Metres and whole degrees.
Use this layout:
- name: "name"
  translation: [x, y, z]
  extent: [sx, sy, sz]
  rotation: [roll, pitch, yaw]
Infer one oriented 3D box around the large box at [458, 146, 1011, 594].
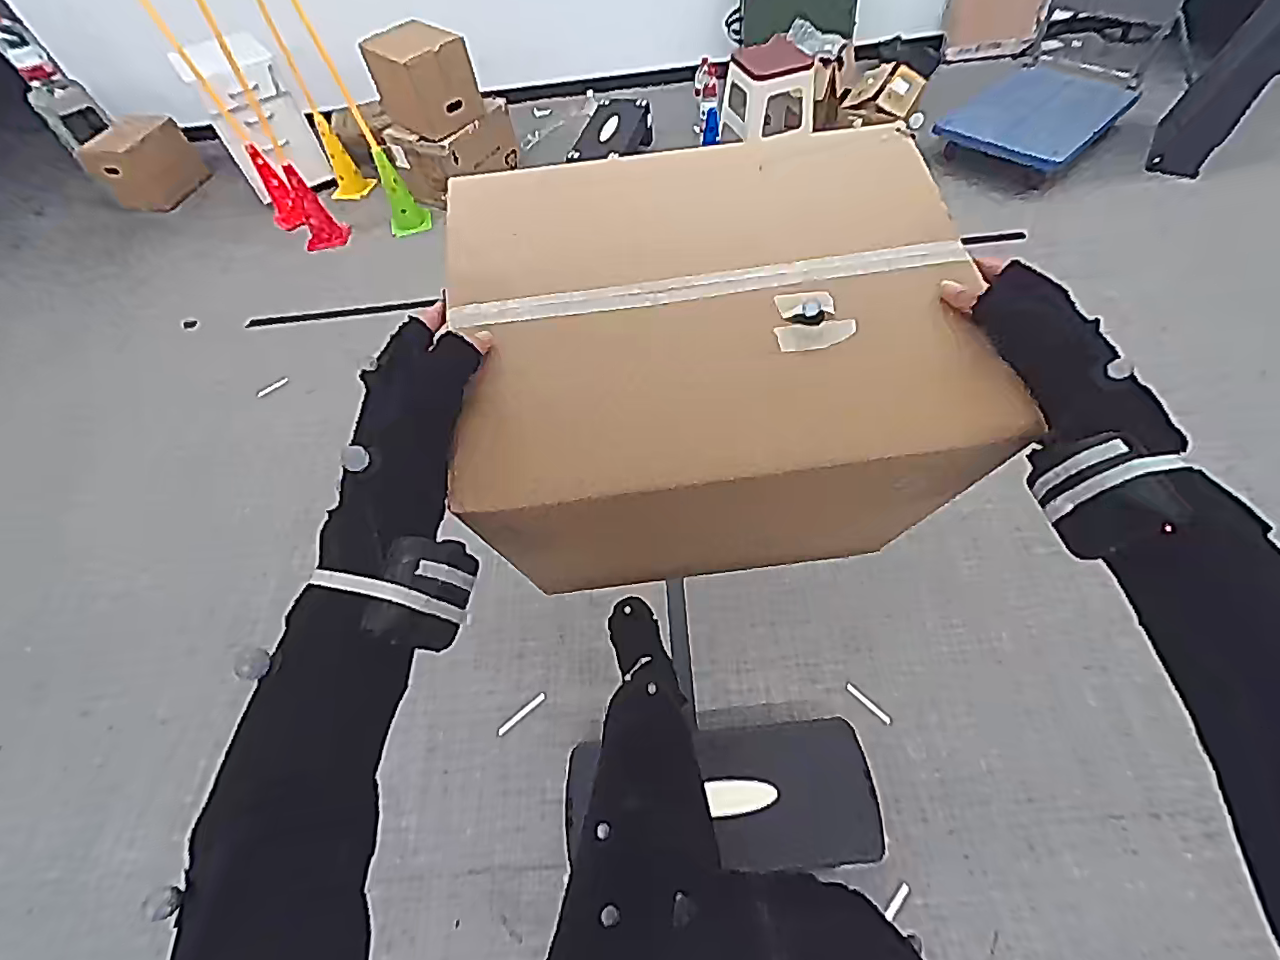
- name: "large box"
  translation: [0.055, -0.085, 0.575]
  extent: [0.408, 0.320, 0.320]
  rotation: [-8, 68, -1]
